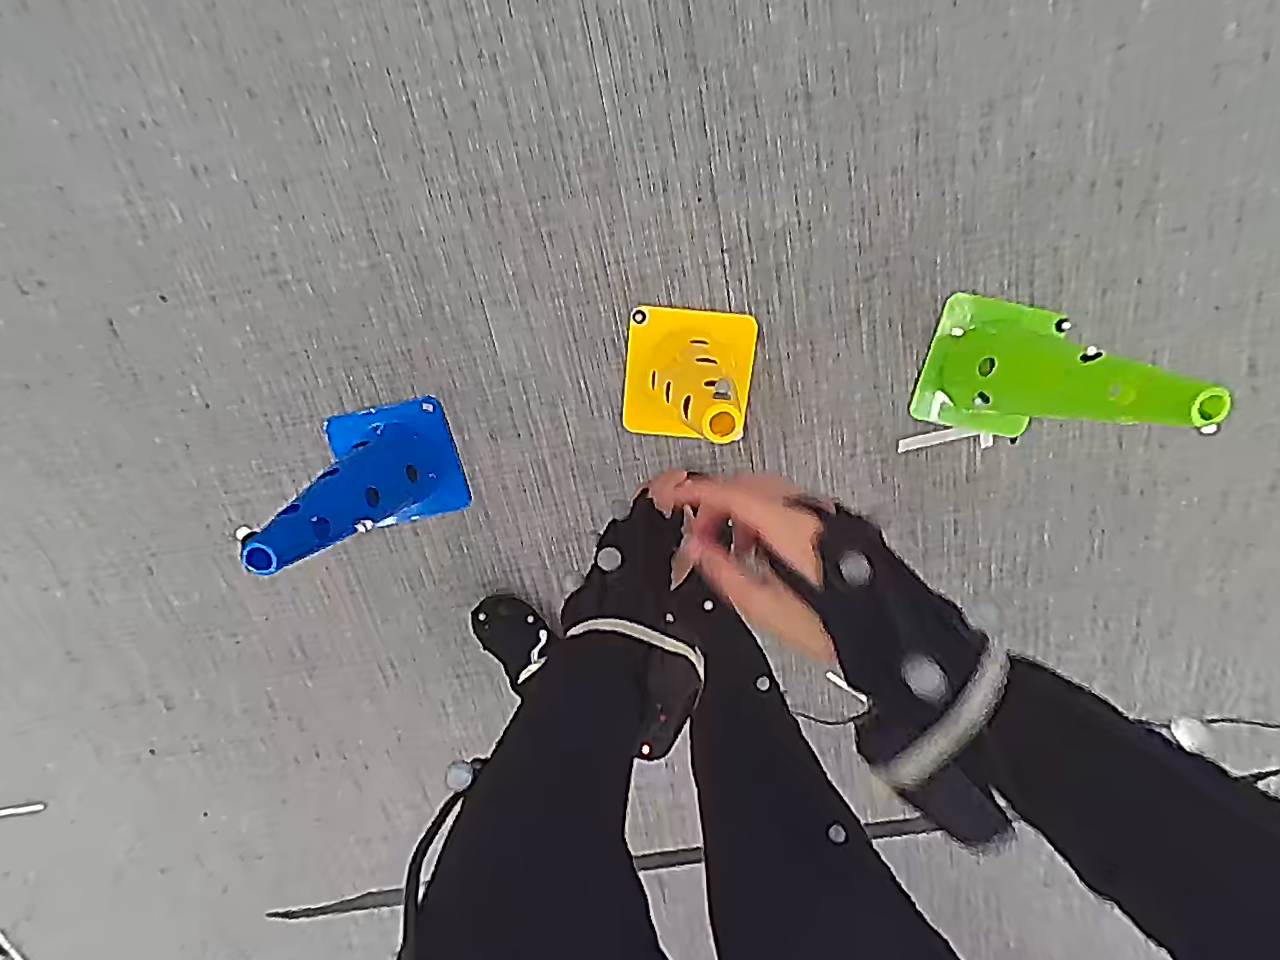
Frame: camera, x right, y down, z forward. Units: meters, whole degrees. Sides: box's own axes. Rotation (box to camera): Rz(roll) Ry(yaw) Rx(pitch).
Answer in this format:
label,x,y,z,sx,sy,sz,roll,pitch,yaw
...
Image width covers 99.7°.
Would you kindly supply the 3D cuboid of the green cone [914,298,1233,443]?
label,x,y,z,sx,sy,sz,roll,pitch,yaw
green cone,0.553,-0.117,0.692,0.200,0.368,0.202,10,108,-3
